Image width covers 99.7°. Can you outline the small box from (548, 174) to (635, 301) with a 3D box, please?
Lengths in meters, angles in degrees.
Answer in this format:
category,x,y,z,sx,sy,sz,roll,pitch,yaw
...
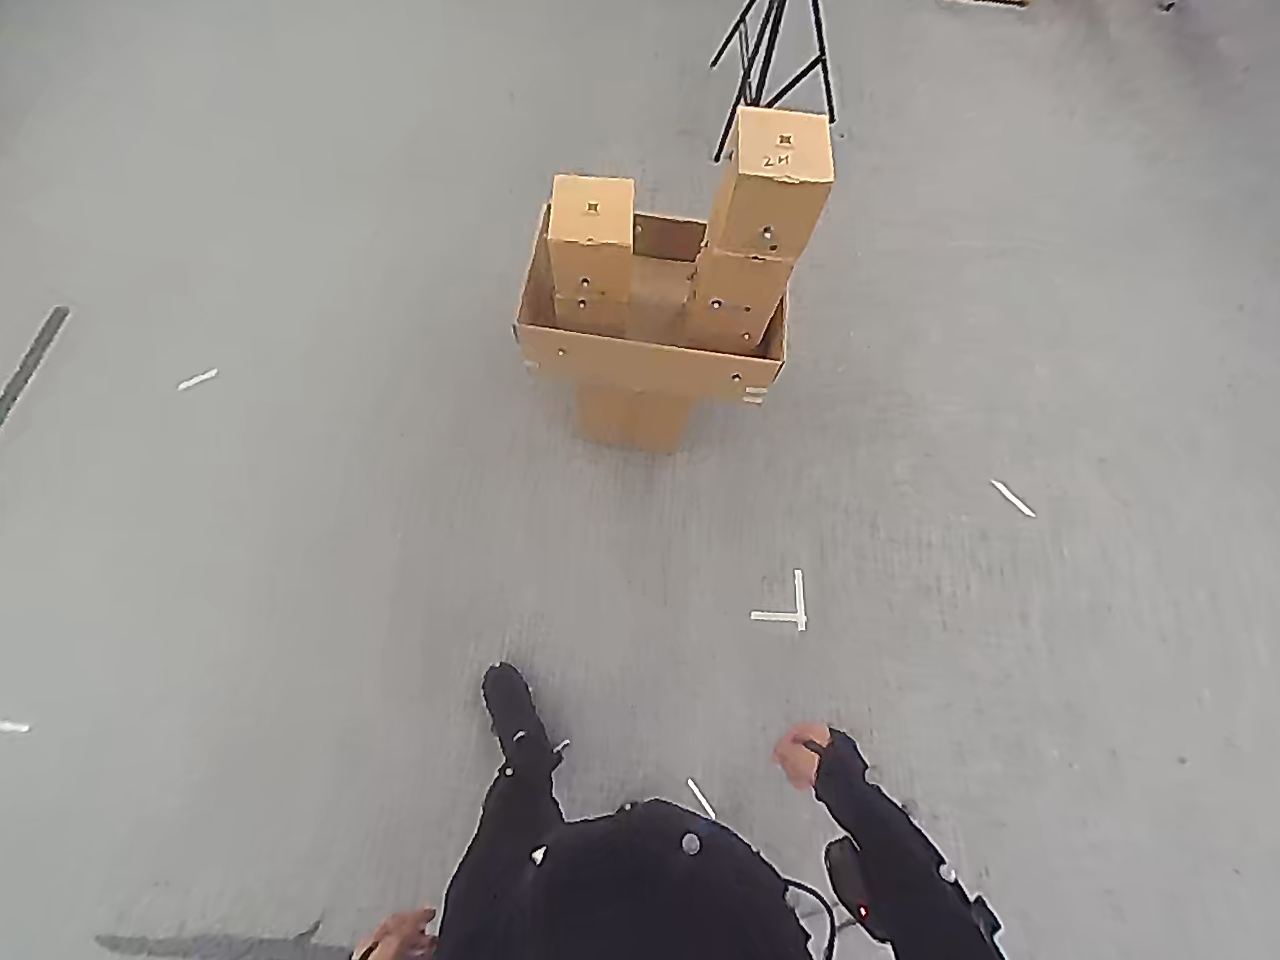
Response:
category,x,y,z,sx,sy,sz,roll,pitch,yaw
small box,-0.099,-0.505,1.138,0.168,0.176,0.179,1,70,-3

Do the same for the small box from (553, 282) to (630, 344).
category,x,y,z,sx,sy,sz,roll,pitch,yaw
small box,-0.109,-0.451,1.292,0.168,0.176,0.179,4,68,-1

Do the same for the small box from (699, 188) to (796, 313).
category,x,y,z,sx,sy,sz,roll,pitch,yaw
small box,0.222,-0.477,1.145,0.168,0.176,0.179,5,68,-2

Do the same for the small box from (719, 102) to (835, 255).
category,x,y,z,sx,sy,sz,roll,pitch,yaw
small box,0.242,-0.548,0.997,0.168,0.176,0.179,4,69,-2
